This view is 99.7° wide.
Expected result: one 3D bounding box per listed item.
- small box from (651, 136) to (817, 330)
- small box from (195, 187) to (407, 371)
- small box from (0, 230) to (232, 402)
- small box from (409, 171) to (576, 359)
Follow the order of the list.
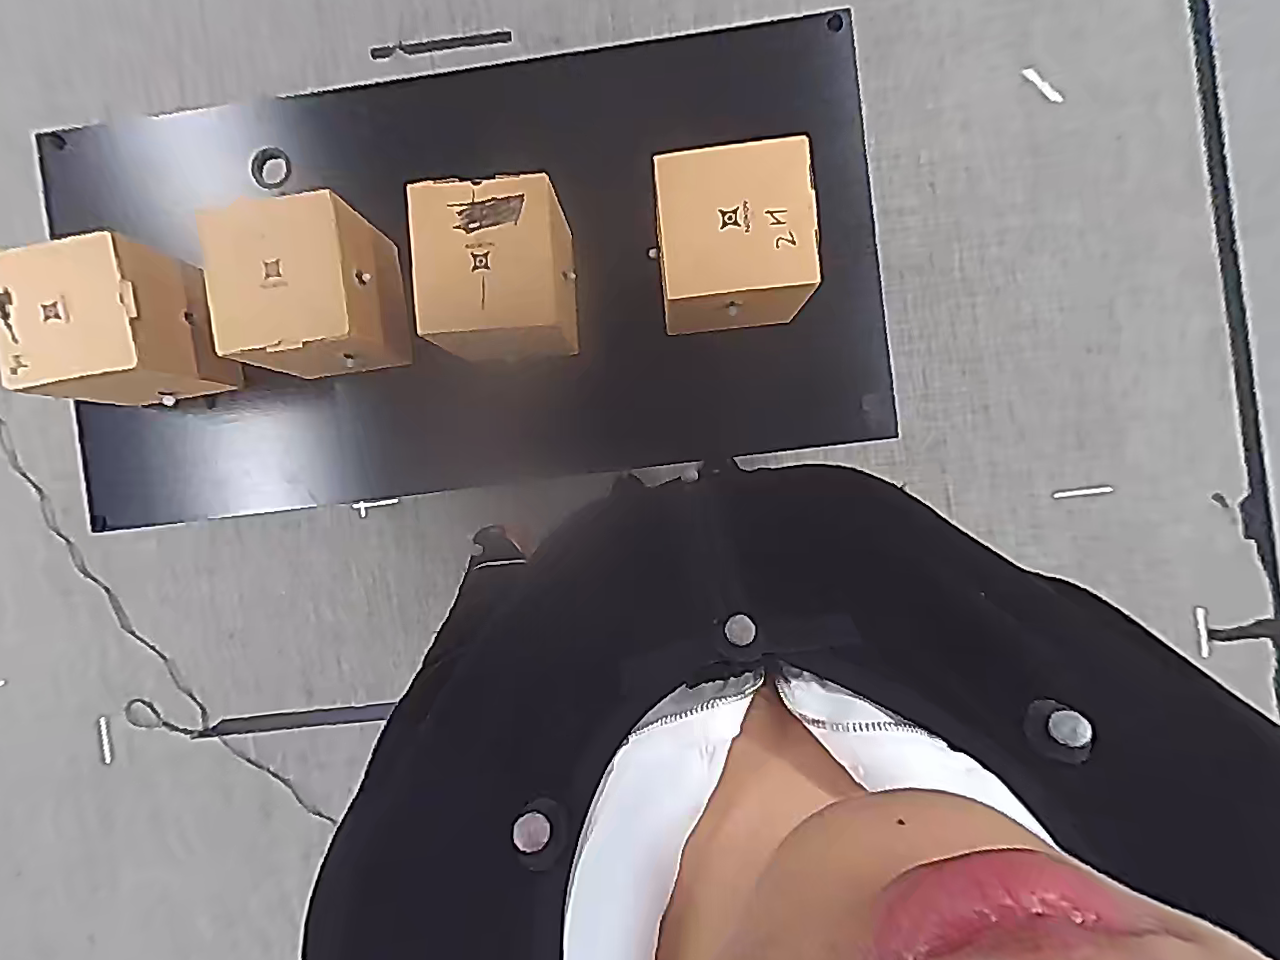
[{"bbox_3d":[0.111,-0.297,0.689,0.179,0.176,0.168,-5,91,3],"label":"small box"},{"bbox_3d":[-0.427,-0.246,0.712,0.168,0.176,0.179,-8,90,1],"label":"small box"},{"bbox_3d":[-0.686,-0.205,0.720,0.179,0.176,0.168,-9,91,1],"label":"small box"},{"bbox_3d":[-0.179,-0.264,0.701,0.168,0.176,0.179,-3,92,2],"label":"small box"}]
